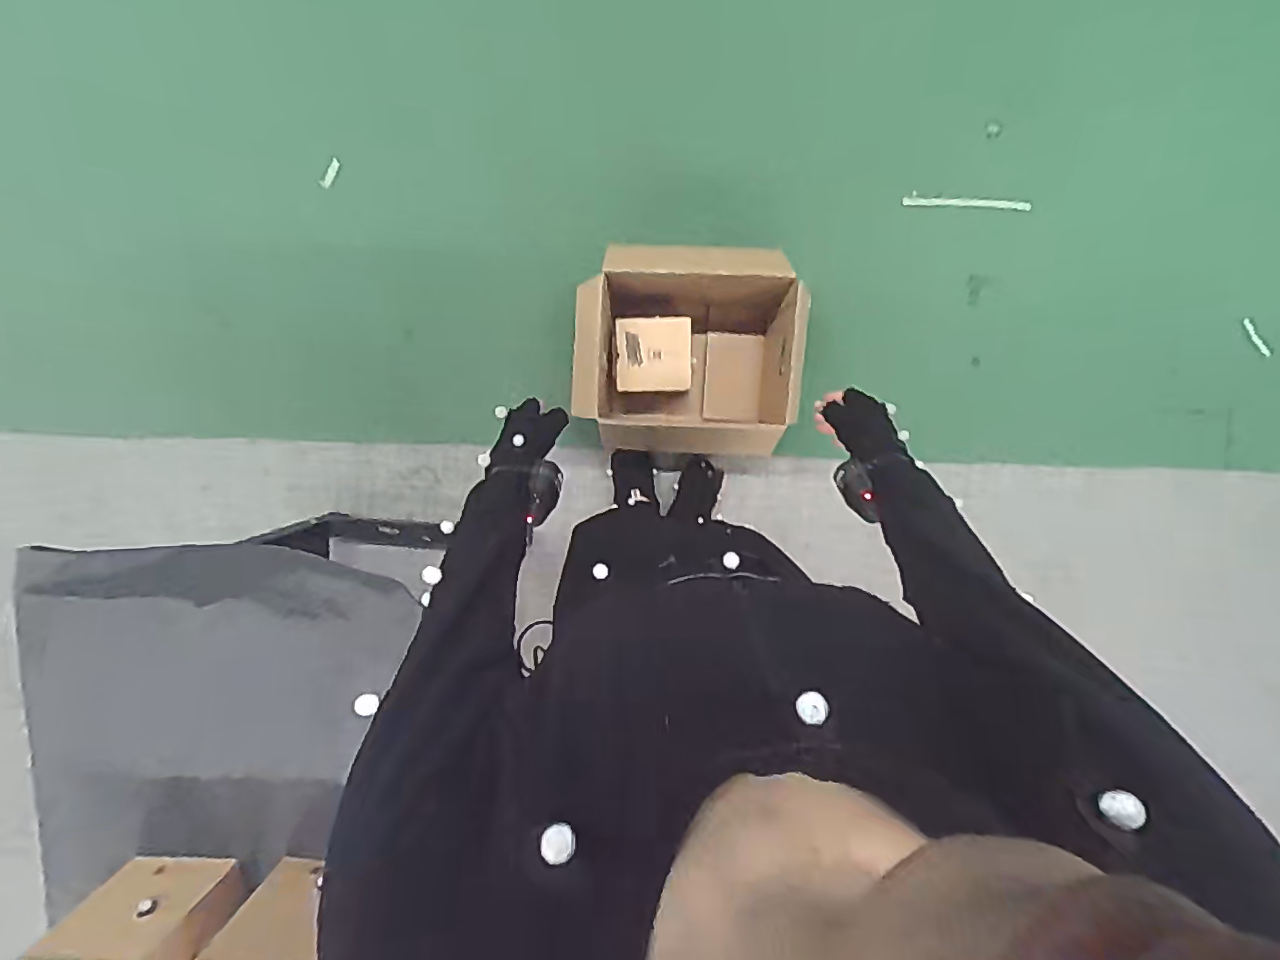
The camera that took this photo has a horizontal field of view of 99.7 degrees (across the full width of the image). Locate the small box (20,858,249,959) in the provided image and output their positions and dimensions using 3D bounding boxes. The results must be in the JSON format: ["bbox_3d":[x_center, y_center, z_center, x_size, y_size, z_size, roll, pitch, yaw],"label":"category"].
[{"bbox_3d":[-0.692,0.671,0.759,0.168,0.176,0.179,0,98,2],"label":"small box"}]
